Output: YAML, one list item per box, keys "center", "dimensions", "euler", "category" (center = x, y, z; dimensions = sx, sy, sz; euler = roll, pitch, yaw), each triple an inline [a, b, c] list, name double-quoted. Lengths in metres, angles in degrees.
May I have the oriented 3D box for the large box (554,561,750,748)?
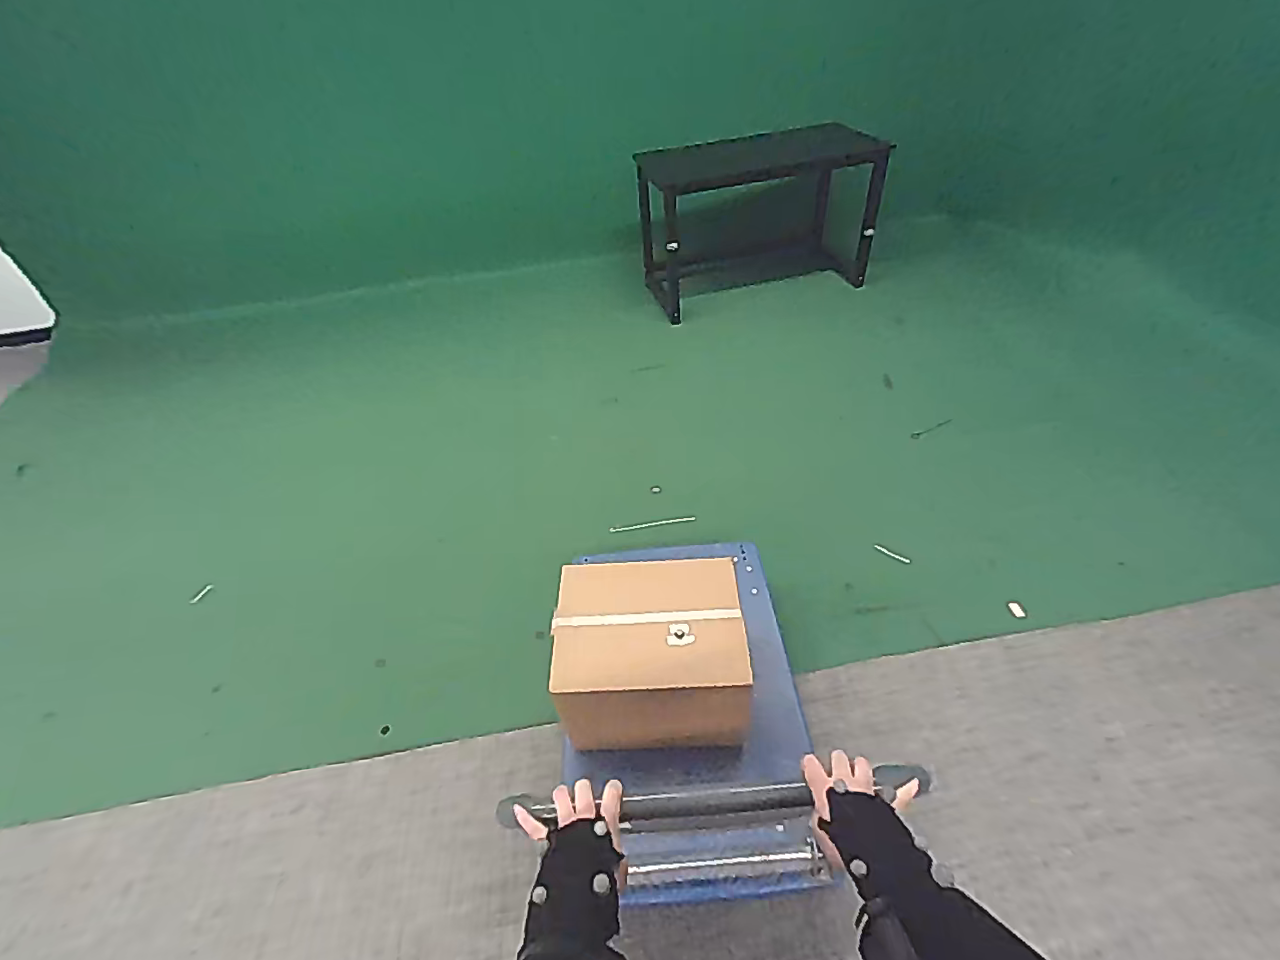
- center: [0.027, 0.417, 1.292]
  dimensions: [0.408, 0.320, 0.320]
  euler: [-3, 44, 2]
  category: "large box"
